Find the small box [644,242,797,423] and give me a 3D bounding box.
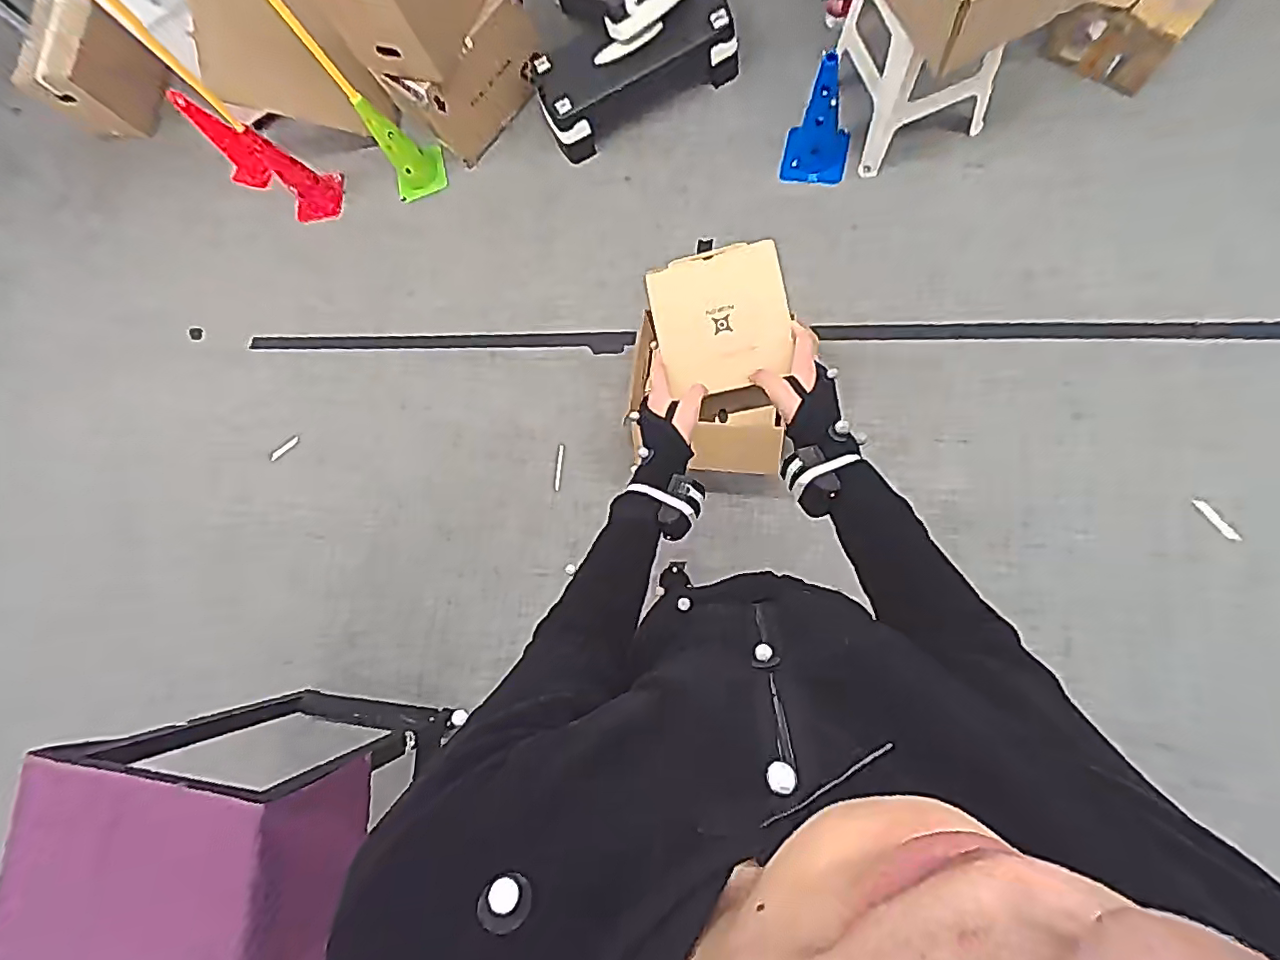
[{"bbox_3d":[0.109,-0.192,0.751,0.168,0.176,0.179,-11,84,8],"label":"small box"}]
